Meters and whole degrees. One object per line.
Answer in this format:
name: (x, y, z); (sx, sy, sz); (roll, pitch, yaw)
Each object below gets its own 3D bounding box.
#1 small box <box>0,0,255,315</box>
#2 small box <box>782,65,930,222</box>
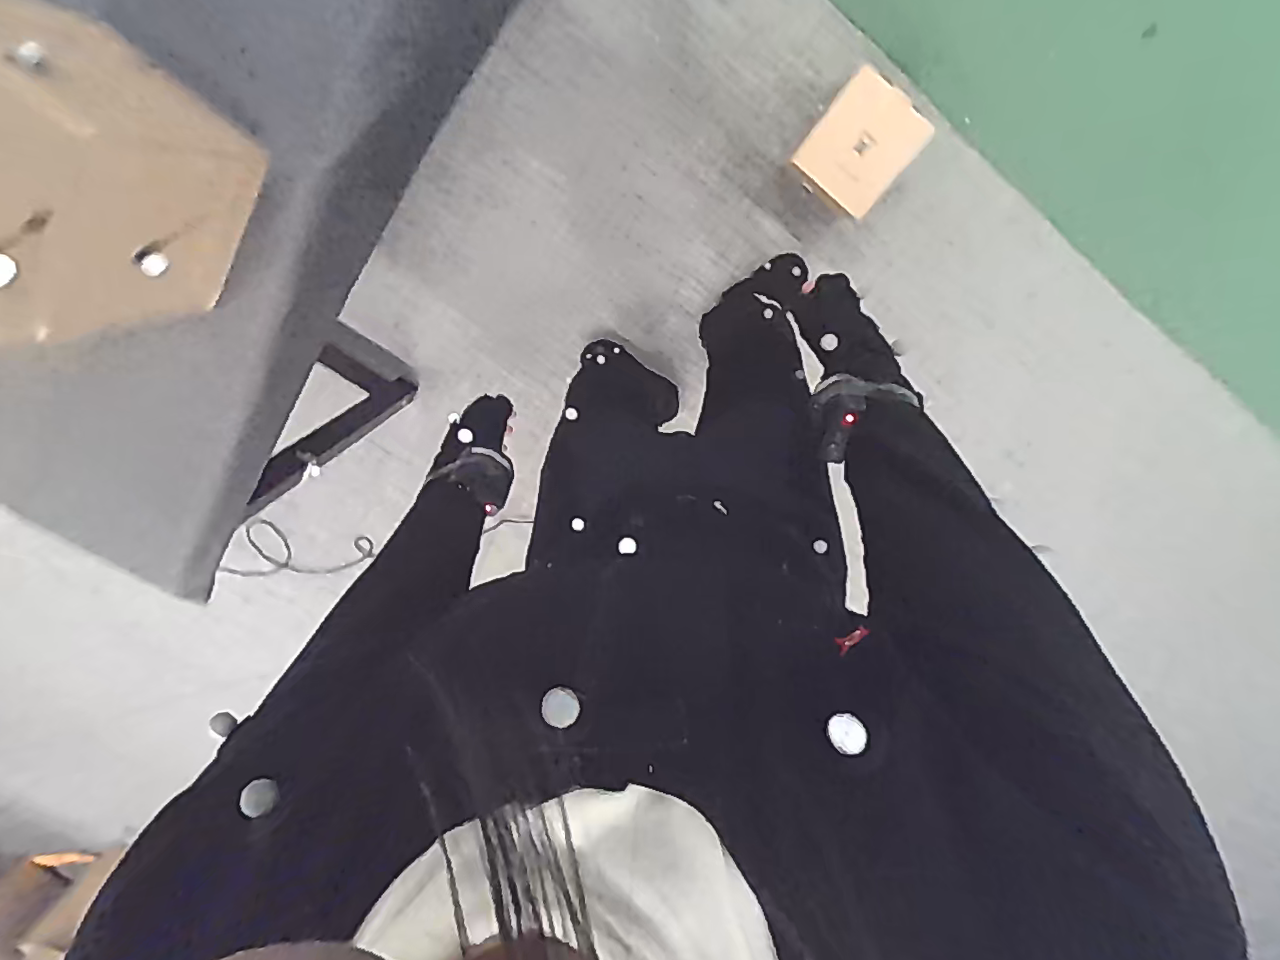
small box: (-0.458, -0.264, 0.429); (0.168, 0.176, 0.179); (38, 114, -13)
small box: (0.382, -0.607, 0.996); (0.168, 0.176, 0.179); (36, 116, -12)
